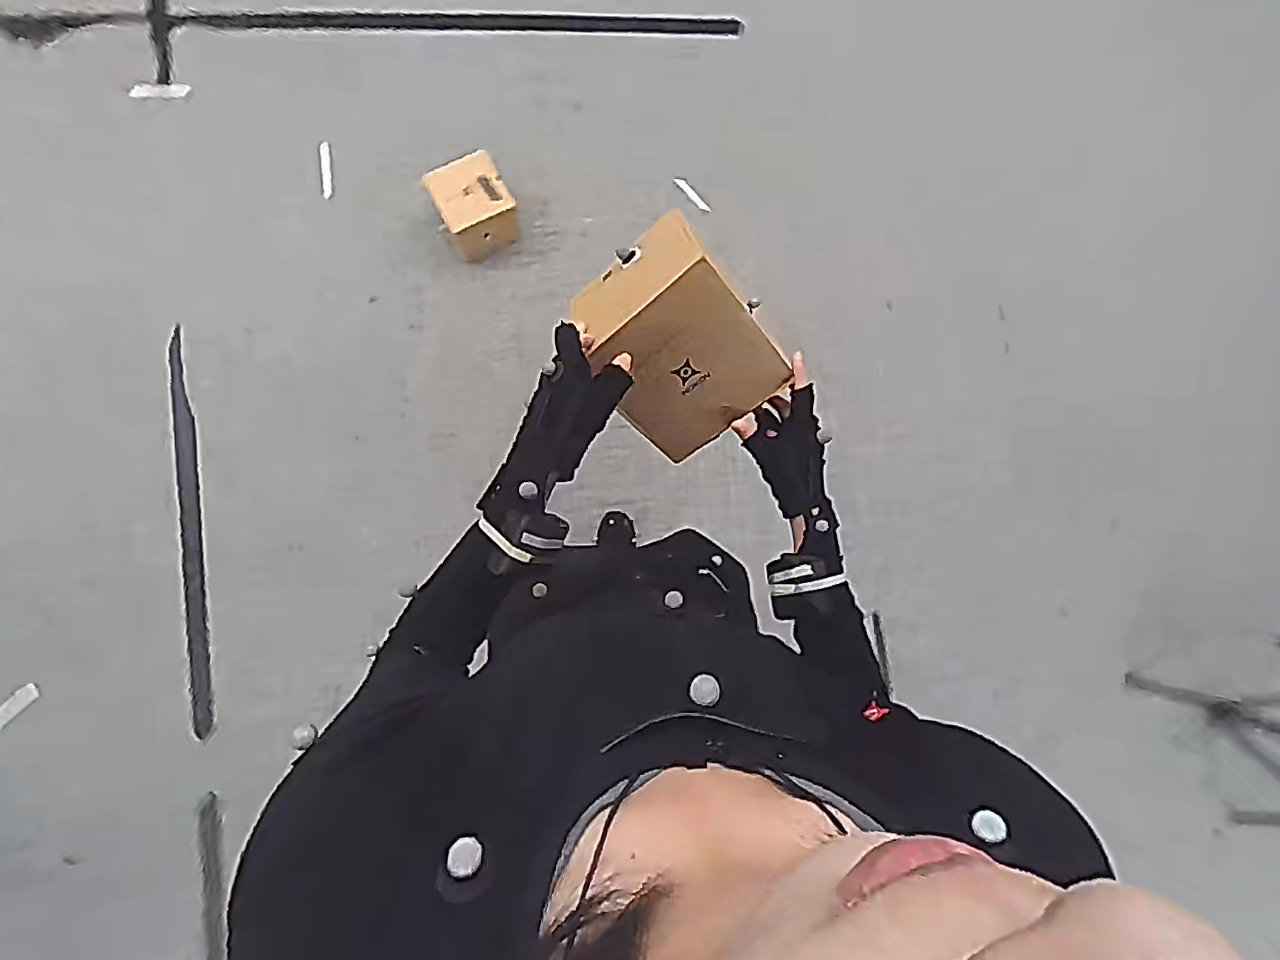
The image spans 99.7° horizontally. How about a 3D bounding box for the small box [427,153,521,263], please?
[{"bbox_3d":[-0.427,-0.712,1.429,0.179,0.176,0.168,-28,90,-7],"label":"small box"}]
